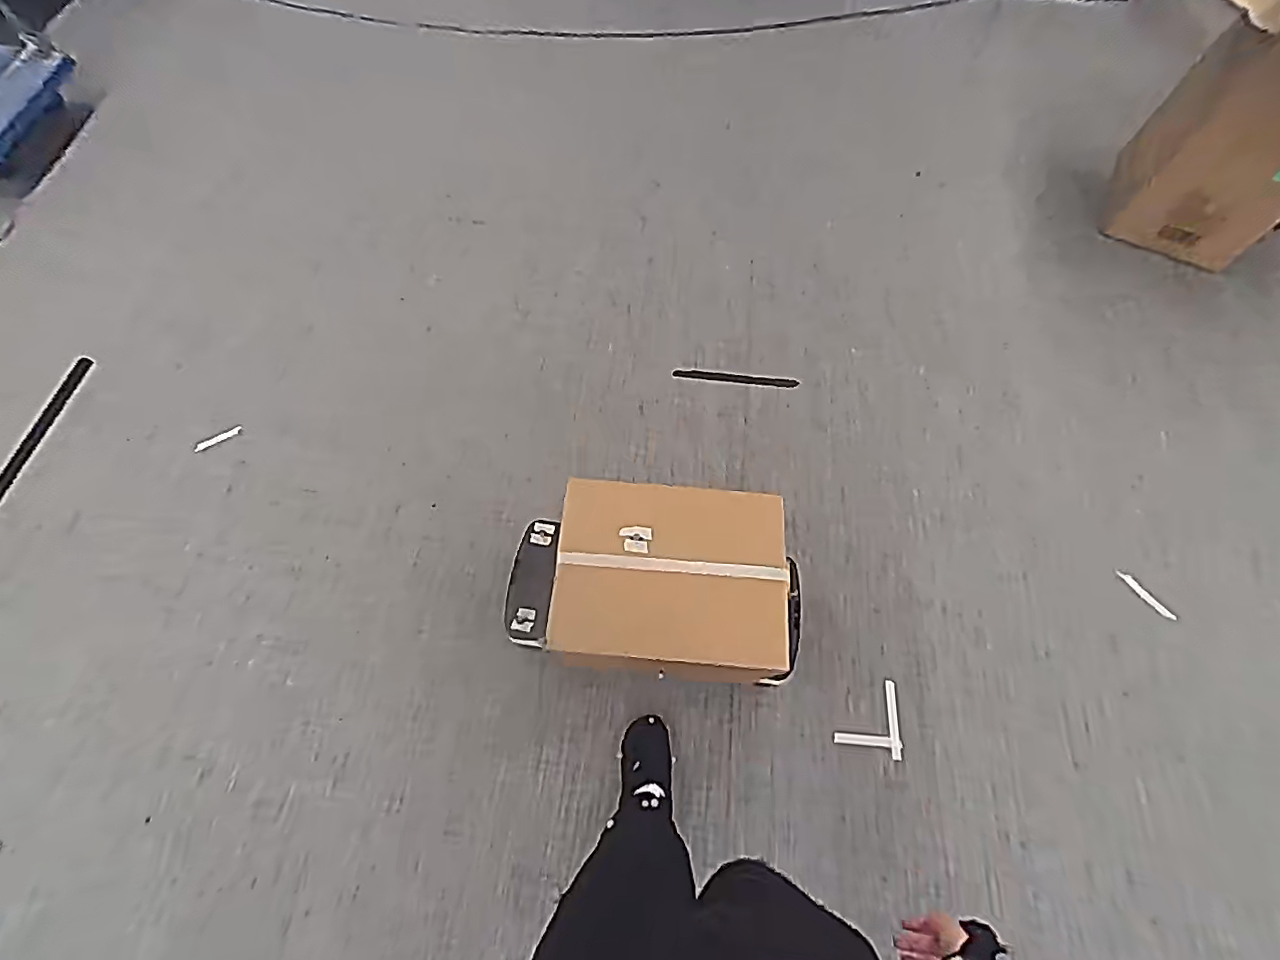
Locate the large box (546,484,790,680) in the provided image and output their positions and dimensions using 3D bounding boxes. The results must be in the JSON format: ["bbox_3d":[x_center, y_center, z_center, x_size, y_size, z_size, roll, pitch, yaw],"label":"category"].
[{"bbox_3d":[0.056,0.217,1.071,0.408,0.320,0.320,4,65,2],"label":"large box"}]
